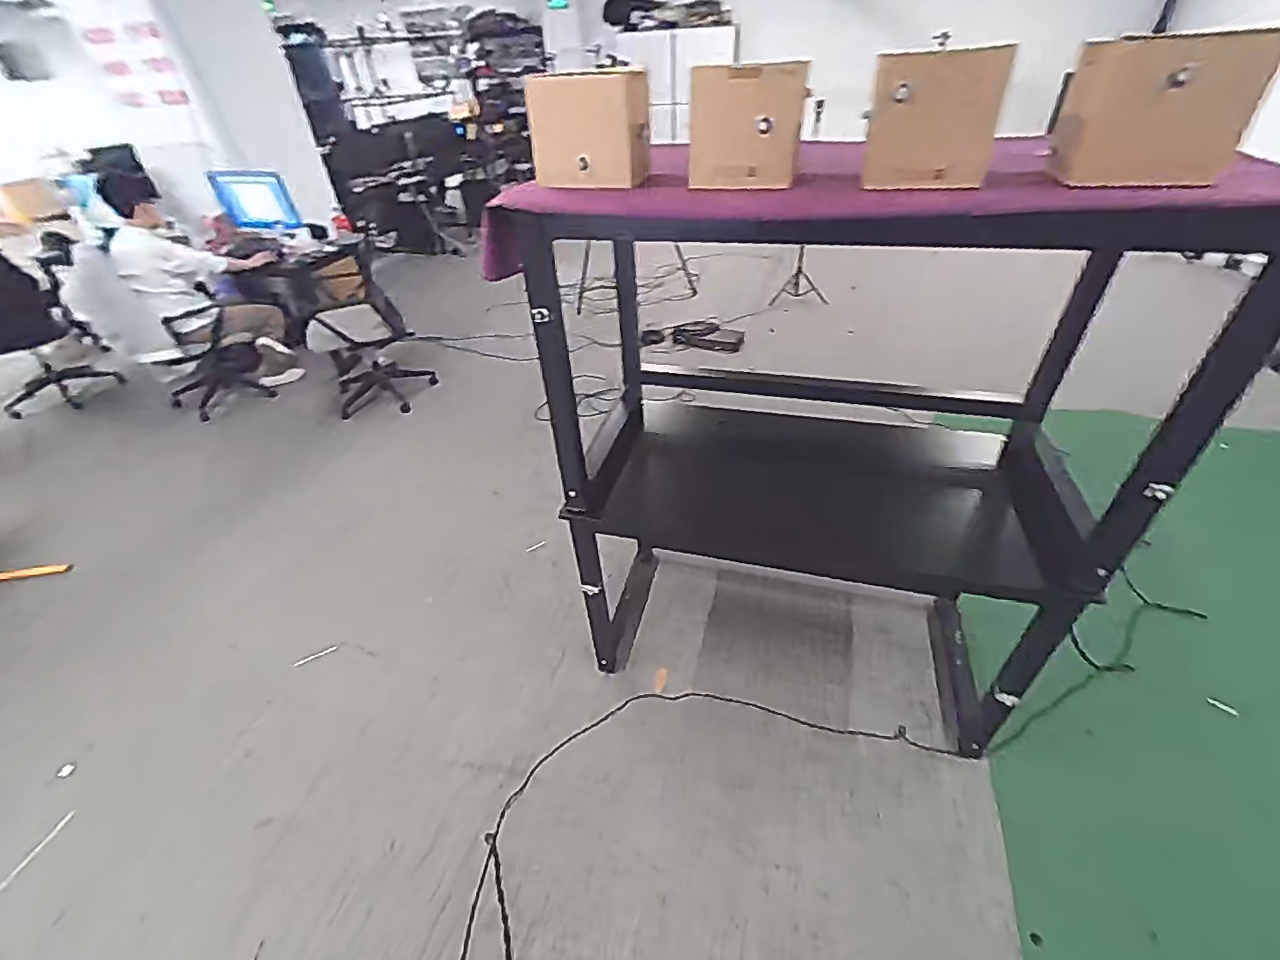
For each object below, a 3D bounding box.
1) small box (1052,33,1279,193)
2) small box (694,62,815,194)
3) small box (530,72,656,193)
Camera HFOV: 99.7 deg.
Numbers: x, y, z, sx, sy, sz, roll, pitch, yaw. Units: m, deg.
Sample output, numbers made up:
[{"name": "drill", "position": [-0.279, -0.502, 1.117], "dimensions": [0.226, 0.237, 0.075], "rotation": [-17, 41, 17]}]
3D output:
[{"name": "small box", "position": [0.719, -0.509, 0.761], "dimensions": [0.179, 0.176, 0.168], "rotation": [9, 38, 15]}, {"name": "small box", "position": [0.190, -0.584, 0.903], "dimensions": [0.168, 0.176, 0.179], "rotation": [10, 38, 16]}, {"name": "small box", "position": [-0.074, -0.621, 0.968], "dimensions": [0.179, 0.176, 0.168], "rotation": [8, 38, 12]}]
